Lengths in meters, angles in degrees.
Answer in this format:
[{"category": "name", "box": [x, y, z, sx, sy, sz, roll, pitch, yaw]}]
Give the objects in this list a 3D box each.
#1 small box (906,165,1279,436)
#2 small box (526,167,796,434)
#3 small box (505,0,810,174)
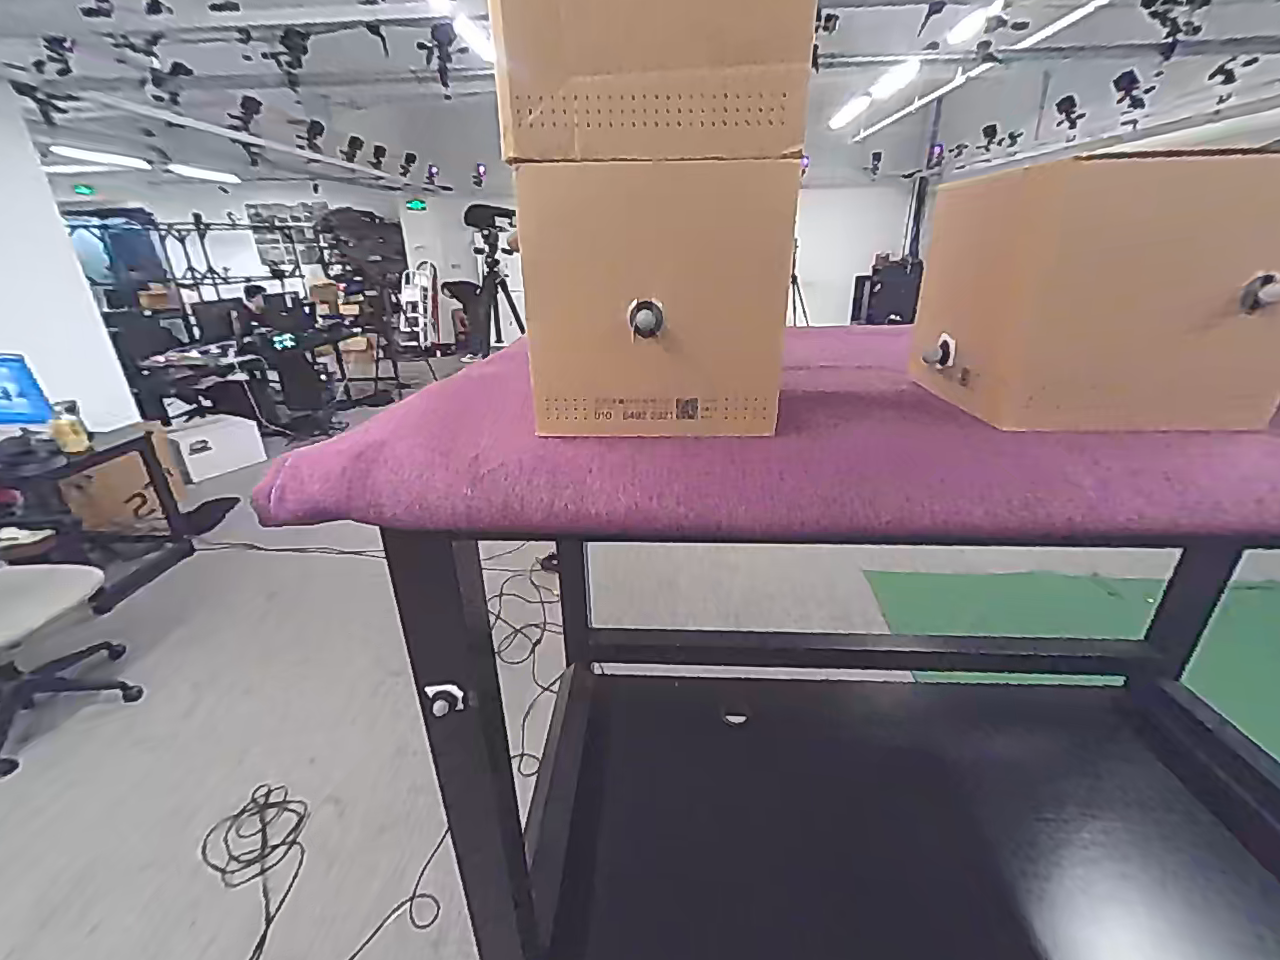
[{"category": "small box", "box": [0.337, -0.136, 0.421, 0.179, 0.176, 0.168, -1, 22, 2]}, {"category": "small box", "box": [0.016, -0.139, 0.427, 0.168, 0.176, 0.179, 1, 23, 1]}, {"category": "small box", "box": [0.010, -0.288, 0.362, 0.179, 0.176, 0.168, 0, 23, -1]}]
